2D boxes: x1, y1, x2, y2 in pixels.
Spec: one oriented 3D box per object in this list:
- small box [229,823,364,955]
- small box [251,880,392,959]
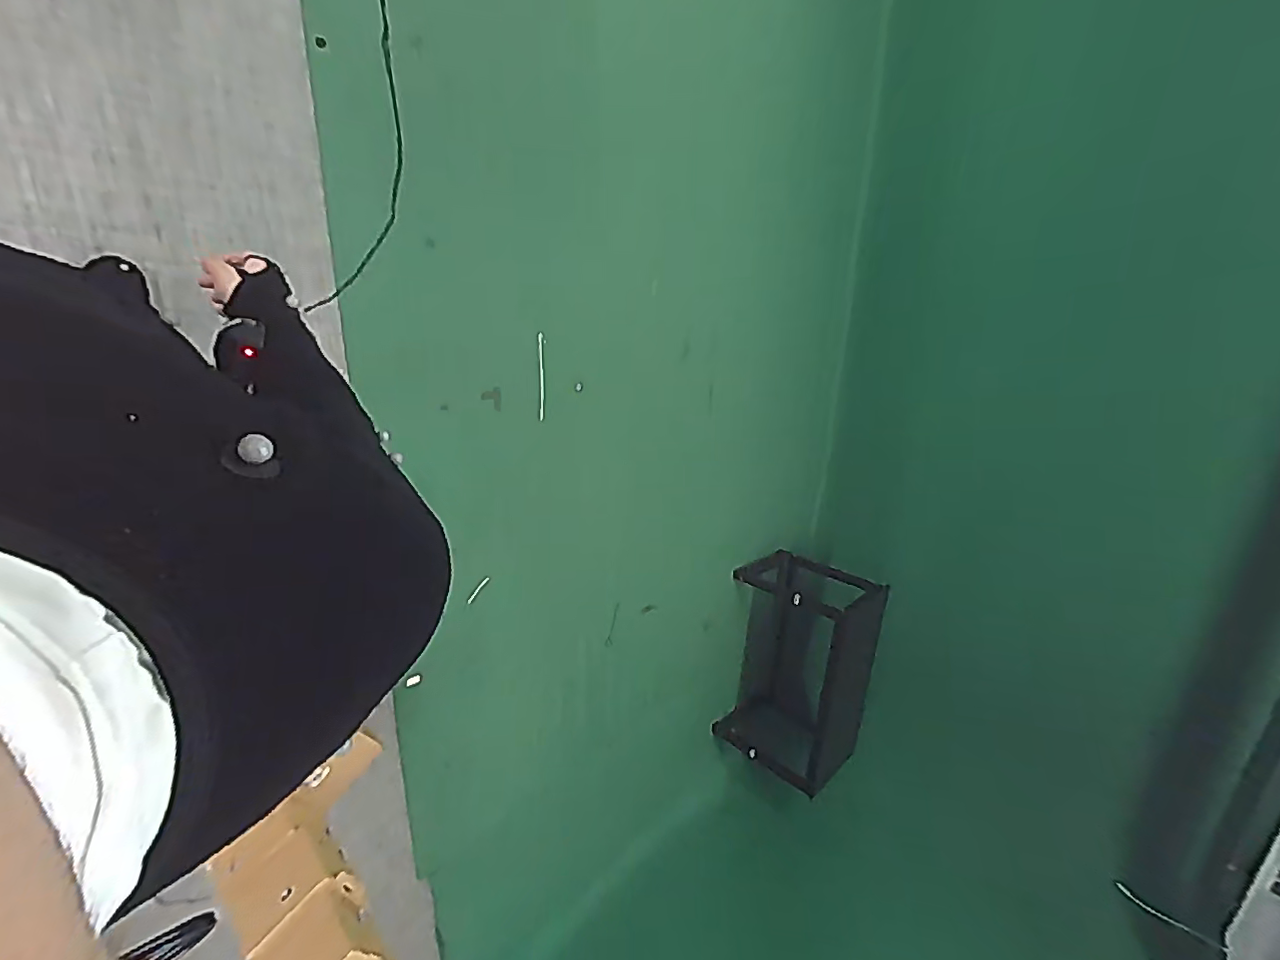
[{"bbox_3d":[-0.763,0.914,1.200,0.179,0.176,0.168,-42,132,-29],"label":"small box"},{"bbox_3d":[-0.649,0.973,1.095,0.179,0.176,0.168,-43,133,-29],"label":"small box"}]
